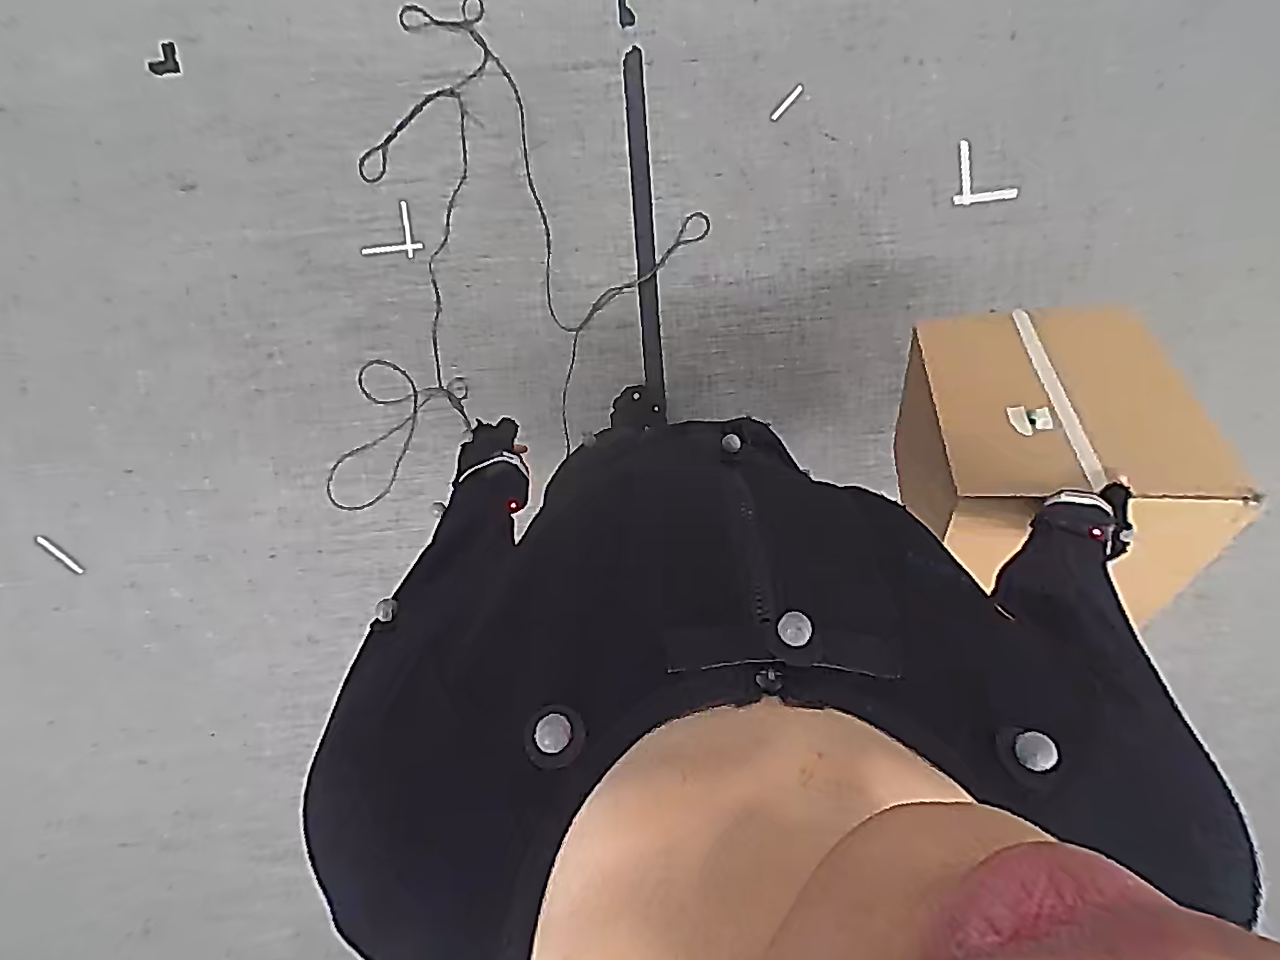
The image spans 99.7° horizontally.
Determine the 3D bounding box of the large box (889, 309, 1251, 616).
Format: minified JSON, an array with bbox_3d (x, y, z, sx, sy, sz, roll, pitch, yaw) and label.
[{"bbox_3d":[0.626,-0.030,0.901,0.320,0.408,0.320,-1,140,16],"label":"large box"}]
